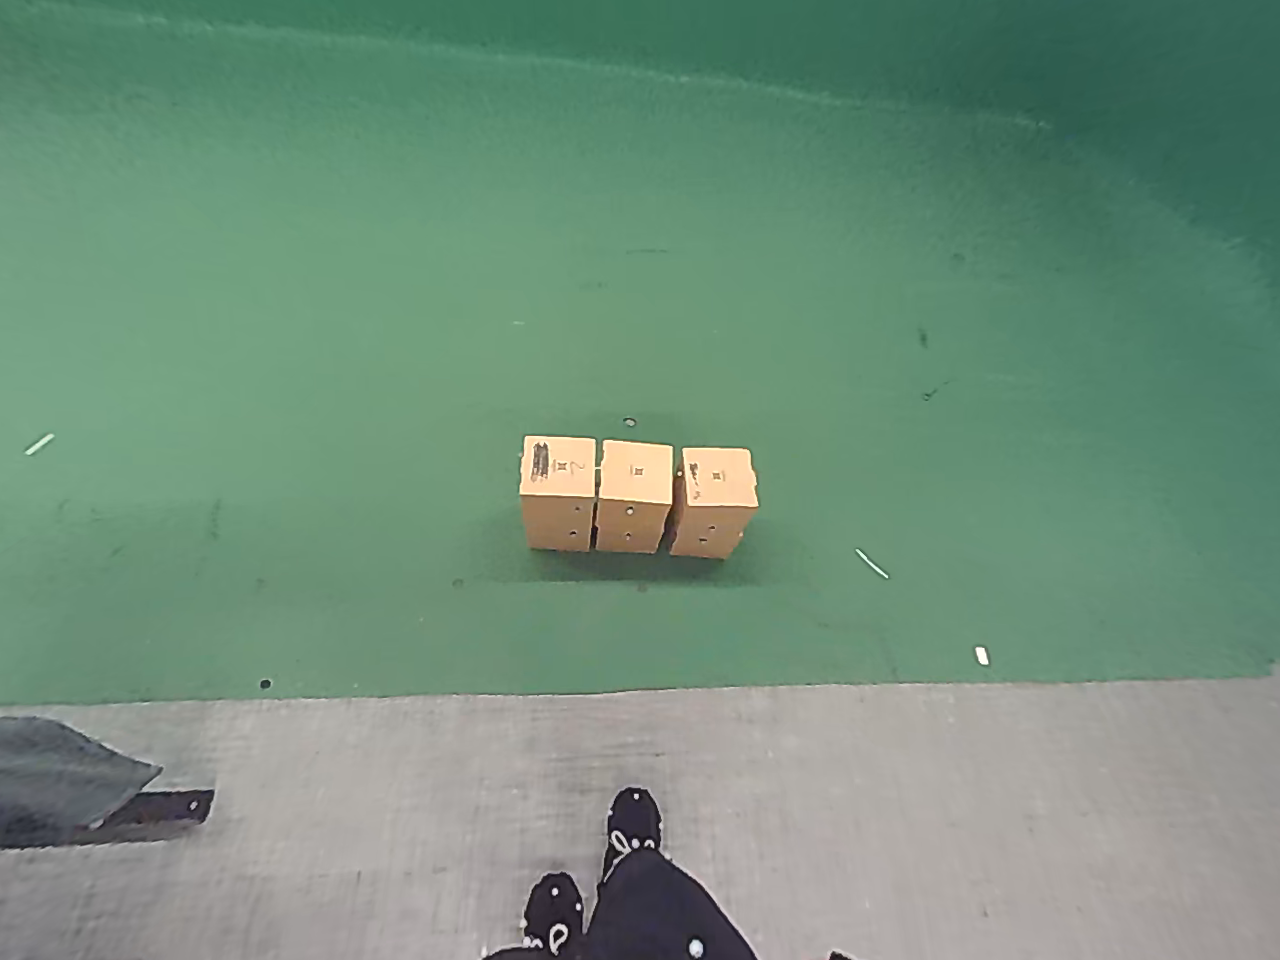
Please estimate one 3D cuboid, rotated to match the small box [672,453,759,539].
[{"bbox_3d":[0.188,0.046,1.397,0.179,0.176,0.168,2,60,-8],"label":"small box"}]
